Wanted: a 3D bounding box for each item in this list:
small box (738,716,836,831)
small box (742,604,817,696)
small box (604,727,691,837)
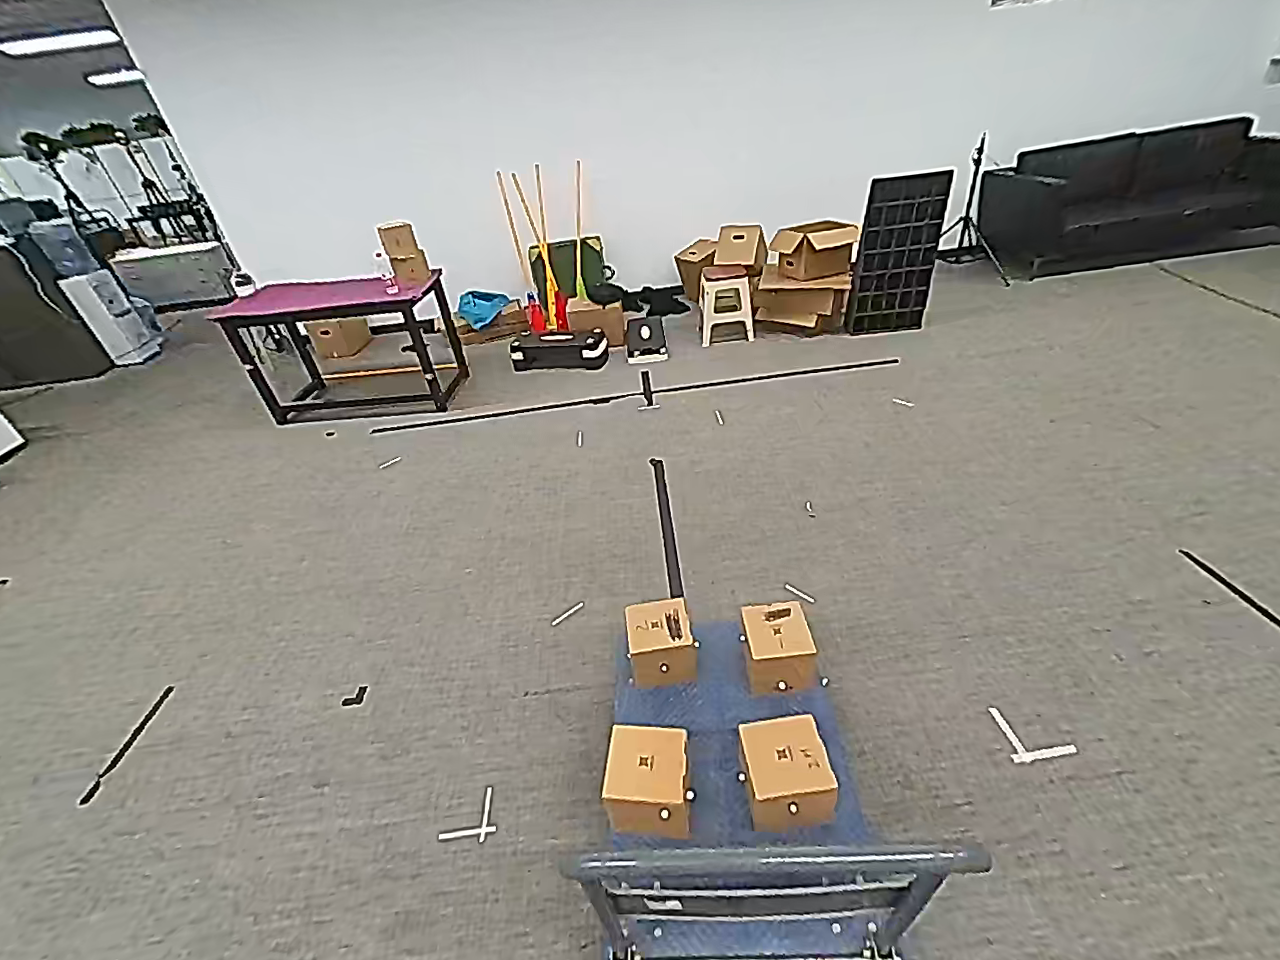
[{"bbox_3d":[0.329,0.671,1.232,0.179,0.176,0.168,-8,36,0],"label":"small box"},{"bbox_3d":[0.378,0.471,1.500,0.168,0.176,0.179,-7,36,2],"label":"small box"},{"bbox_3d":[0.025,0.699,1.253,0.179,0.176,0.168,0,35,8],"label":"small box"}]
